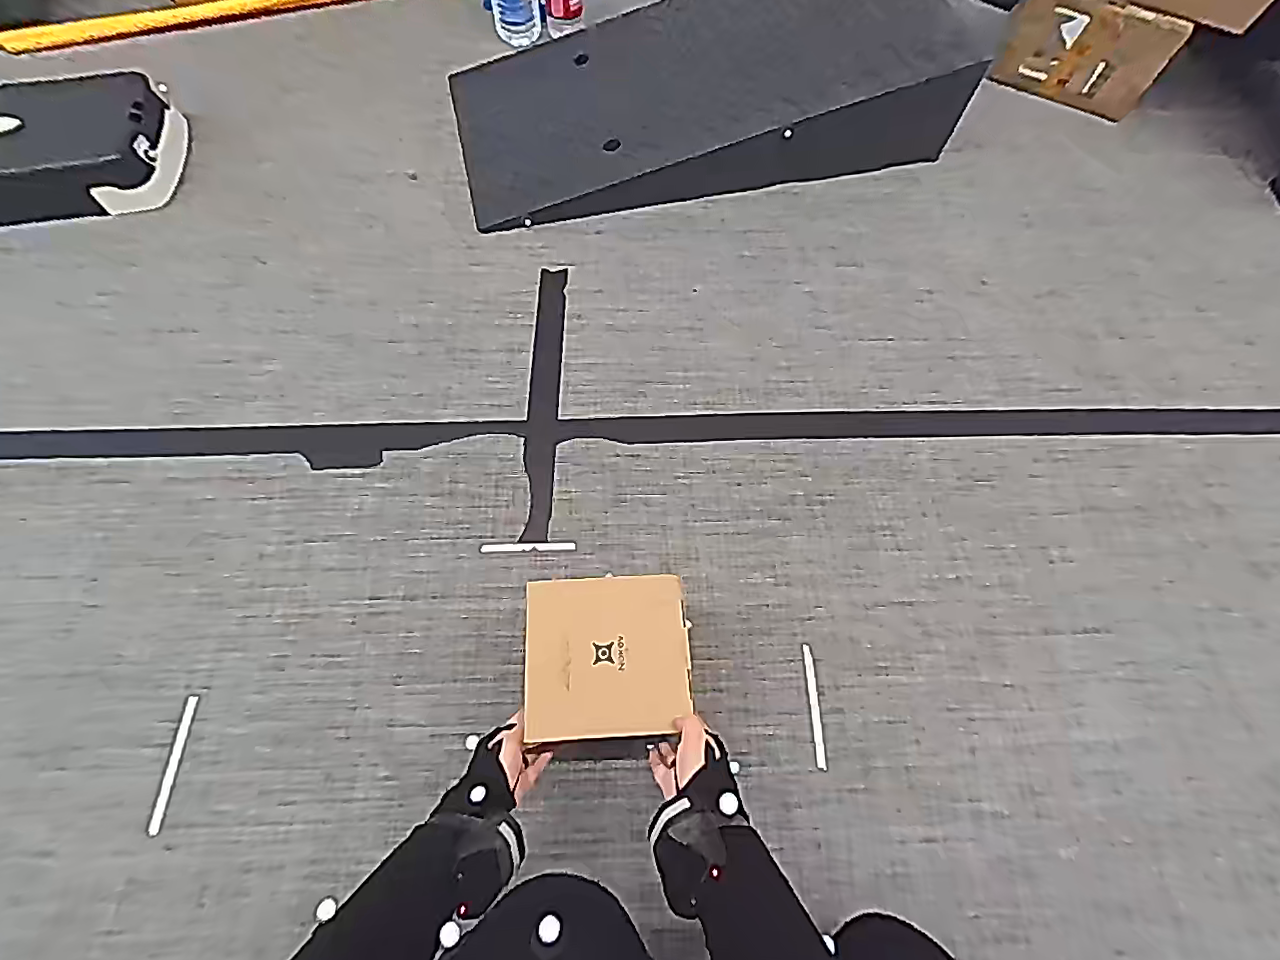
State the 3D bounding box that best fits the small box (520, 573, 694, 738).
[{"bbox_3d":[-0.037,0.210,0.641,0.179,0.176,0.168,-1,66,-2],"label":"small box"}]
